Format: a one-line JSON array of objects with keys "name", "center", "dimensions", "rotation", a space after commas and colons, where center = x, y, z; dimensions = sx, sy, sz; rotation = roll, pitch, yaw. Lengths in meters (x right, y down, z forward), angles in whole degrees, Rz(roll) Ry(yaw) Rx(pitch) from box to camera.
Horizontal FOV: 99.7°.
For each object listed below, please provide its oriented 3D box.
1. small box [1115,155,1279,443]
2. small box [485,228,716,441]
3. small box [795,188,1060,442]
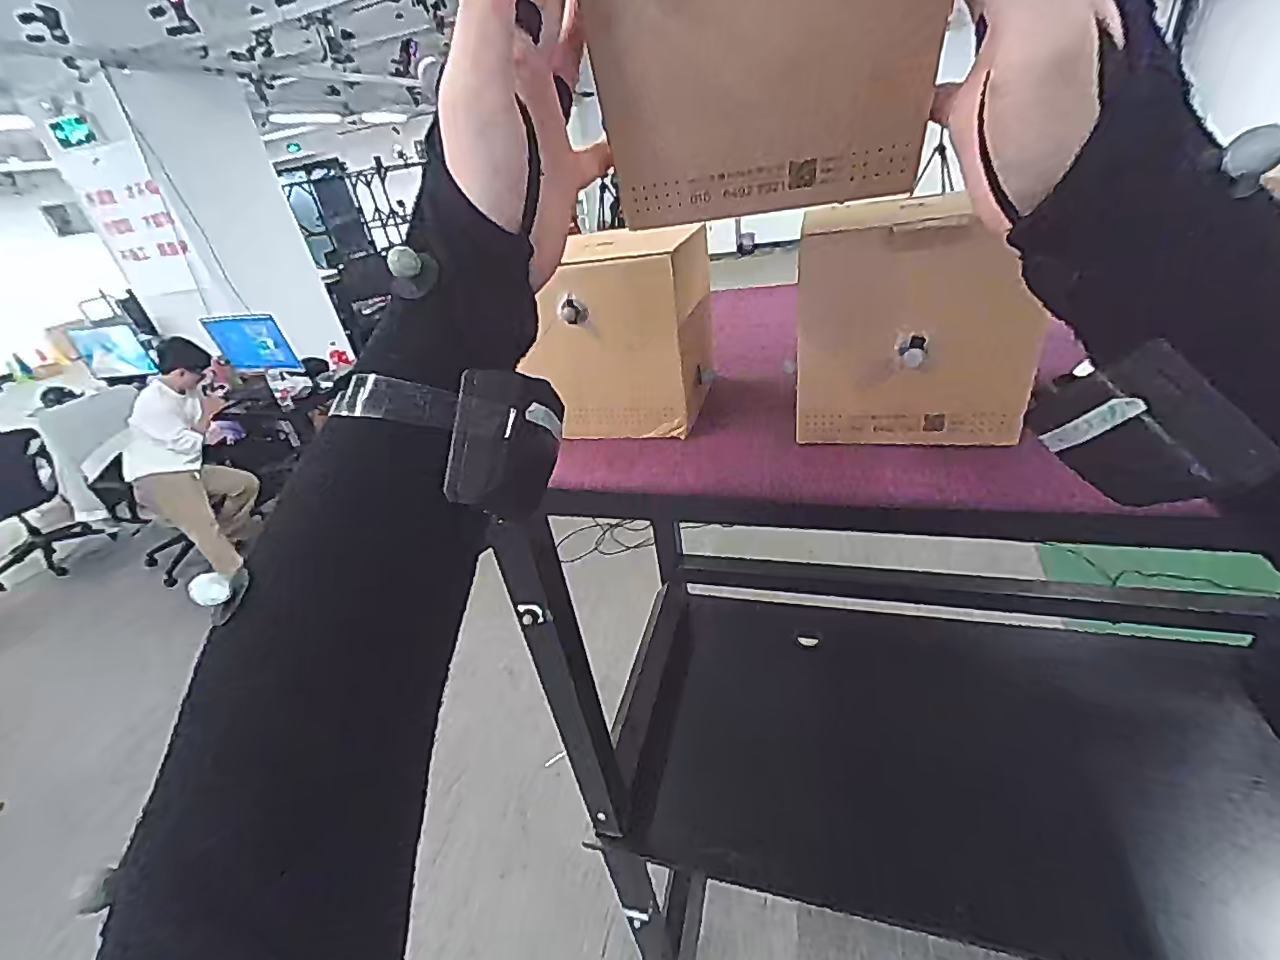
[{"name": "small box", "center": [0.493, -0.133, 0.383], "dimensions": [0.179, 0.176, 0.168], "rotation": [1, 30, 20]}, {"name": "small box", "center": [-0.024, -0.148, 0.554], "dimensions": [0.179, 0.176, 0.168], "rotation": [2, 32, 17]}, {"name": "small box", "center": [0.225, -0.142, 0.472], "dimensions": [0.168, 0.176, 0.179], "rotation": [2, 32, 18]}]
